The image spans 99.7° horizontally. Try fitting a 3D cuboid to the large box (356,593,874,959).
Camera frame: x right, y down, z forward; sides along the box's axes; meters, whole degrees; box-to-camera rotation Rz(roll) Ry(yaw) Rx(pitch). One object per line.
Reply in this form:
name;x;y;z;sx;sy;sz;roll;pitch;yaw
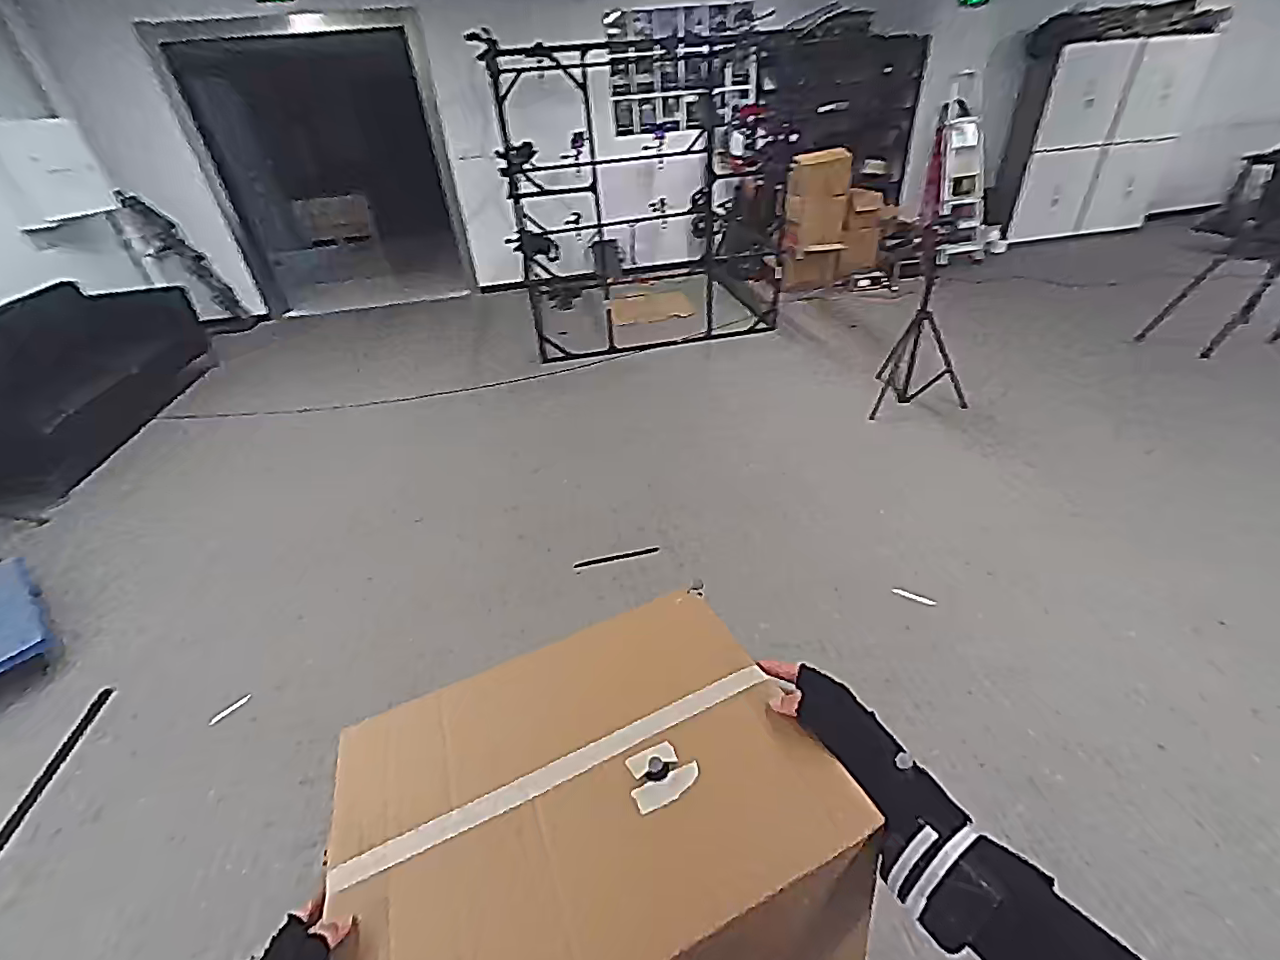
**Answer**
large box;-0.028;0.391;0.567;0.408;0.320;0.320;-18;31;-16
